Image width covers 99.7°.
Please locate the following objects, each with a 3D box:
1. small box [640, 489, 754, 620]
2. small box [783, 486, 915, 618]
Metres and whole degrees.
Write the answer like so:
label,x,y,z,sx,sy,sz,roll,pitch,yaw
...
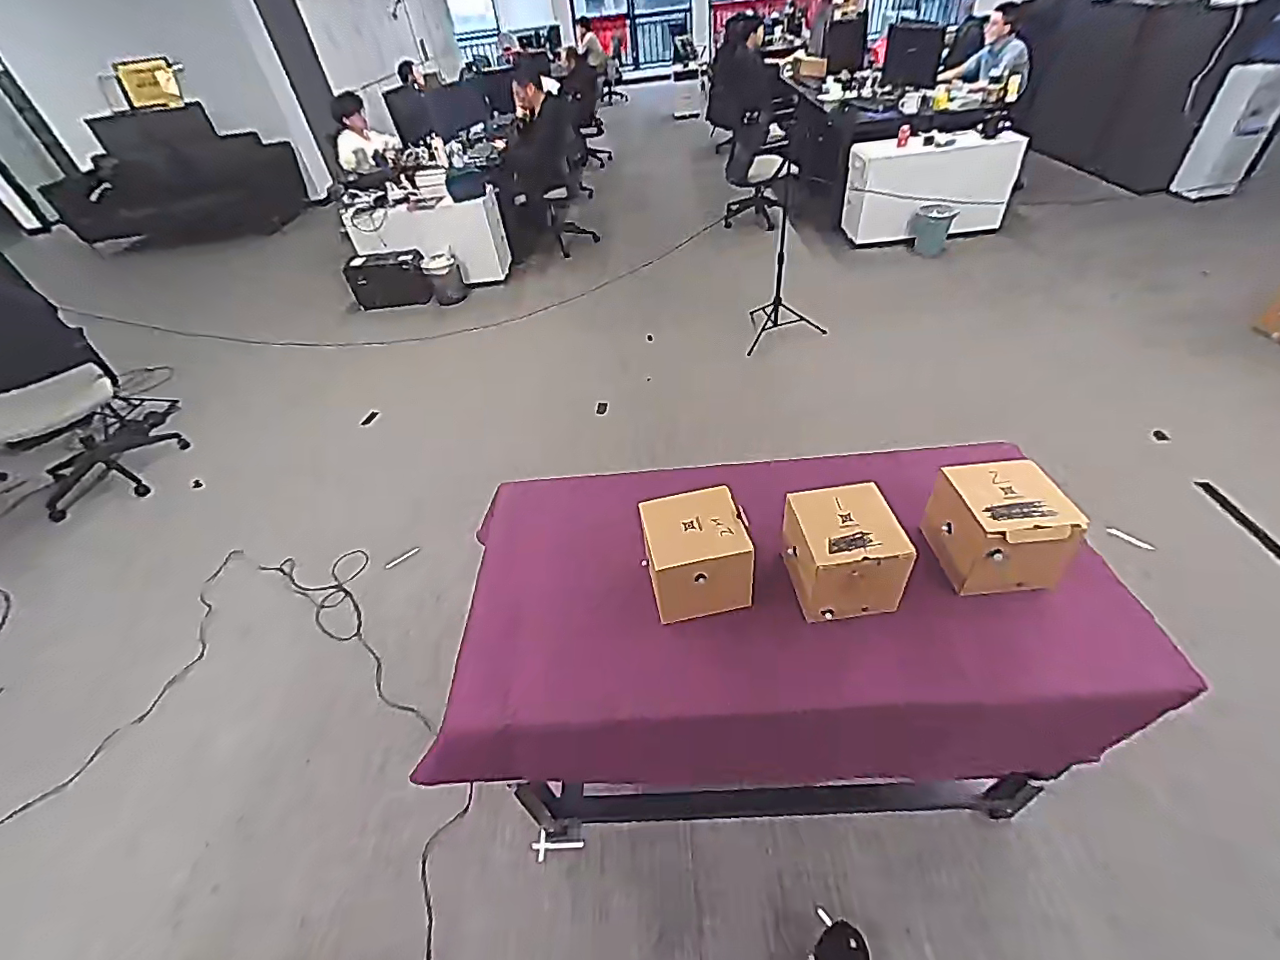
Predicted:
label,x,y,z,sx,sy,sz,roll,pitch,yaw
small box,0.105,0.144,1.021,0.179,0.176,0.168,-10,43,-3
small box,0.370,0.137,0.992,0.168,0.176,0.179,-7,42,0
